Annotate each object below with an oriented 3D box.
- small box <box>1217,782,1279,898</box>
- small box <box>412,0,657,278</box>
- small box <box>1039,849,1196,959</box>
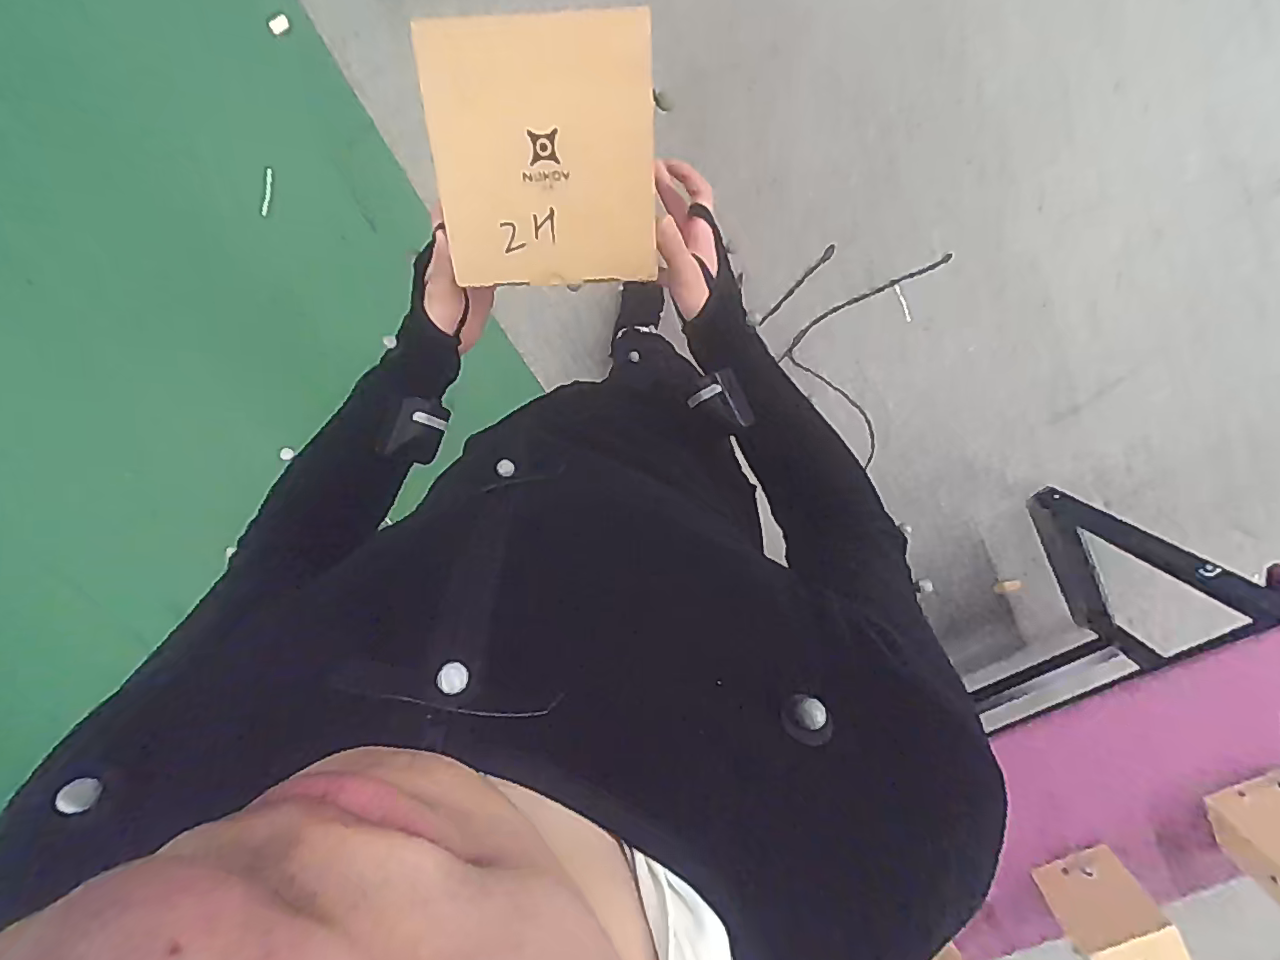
[{"bbox_3d":[1.263,0.703,1.022,0.168,0.176,0.179,-30,106,11],"label":"small box"},{"bbox_3d":[-0.070,-0.276,0.470,0.168,0.176,0.179,-1,115,3],"label":"small box"},{"bbox_3d":[0.965,0.902,1.097,0.168,0.176,0.179,-30,105,10],"label":"small box"}]
